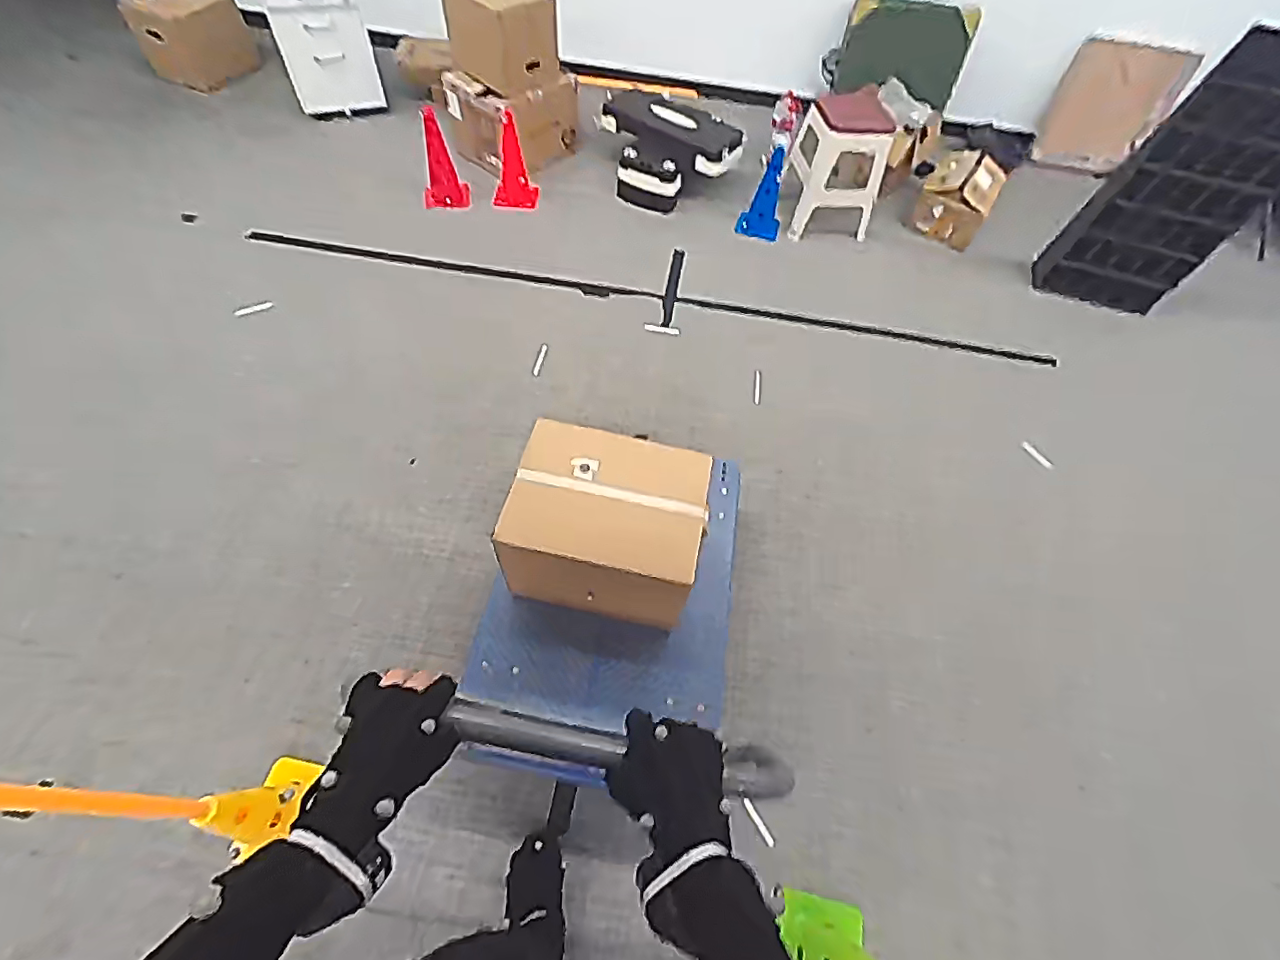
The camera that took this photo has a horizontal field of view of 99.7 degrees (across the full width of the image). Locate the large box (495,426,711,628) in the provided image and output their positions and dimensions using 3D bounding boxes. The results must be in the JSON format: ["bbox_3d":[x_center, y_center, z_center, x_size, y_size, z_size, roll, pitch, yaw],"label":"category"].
[{"bbox_3d":[-0.072,0.119,1.256,0.408,0.320,0.320,13,58,3],"label":"large box"}]

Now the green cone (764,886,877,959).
[{"bbox_3d":[0.371,0.886,0.969,0.202,0.368,0.200,14,57,2],"label":"green cone"}]
